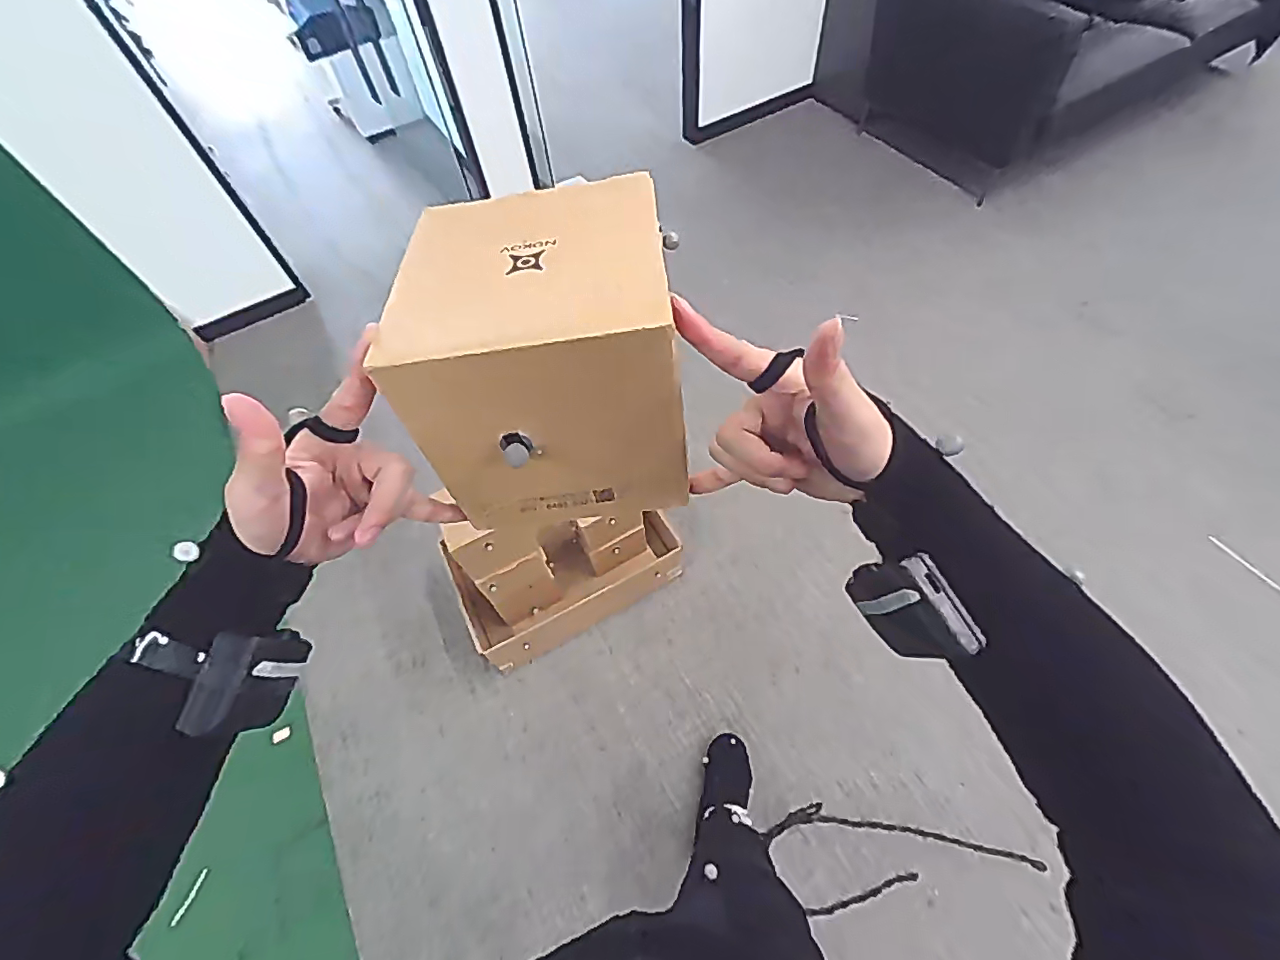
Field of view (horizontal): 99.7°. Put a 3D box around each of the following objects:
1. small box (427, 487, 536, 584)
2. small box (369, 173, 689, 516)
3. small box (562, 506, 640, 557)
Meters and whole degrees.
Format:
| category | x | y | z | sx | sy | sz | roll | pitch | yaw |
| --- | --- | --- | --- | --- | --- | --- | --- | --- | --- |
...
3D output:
| category | x | y | z | sx | sy | sz | roll | pitch | yaw |
| --- | --- | --- | --- | --- | --- | --- | --- | --- | --- |
| small box | -0.367 | 0.117 | 1.271 | 0.179 | 0.176 | 0.168 | -25 | 59 | -12 |
| small box | -0.058 | -0.087 | 0.392 | 0.168 | 0.176 | 0.179 | -7 | 51 | 3 |
| small box | -0.113 | 0.082 | 1.471 | 0.179 | 0.176 | 0.168 | -28 | 61 | -13 |
